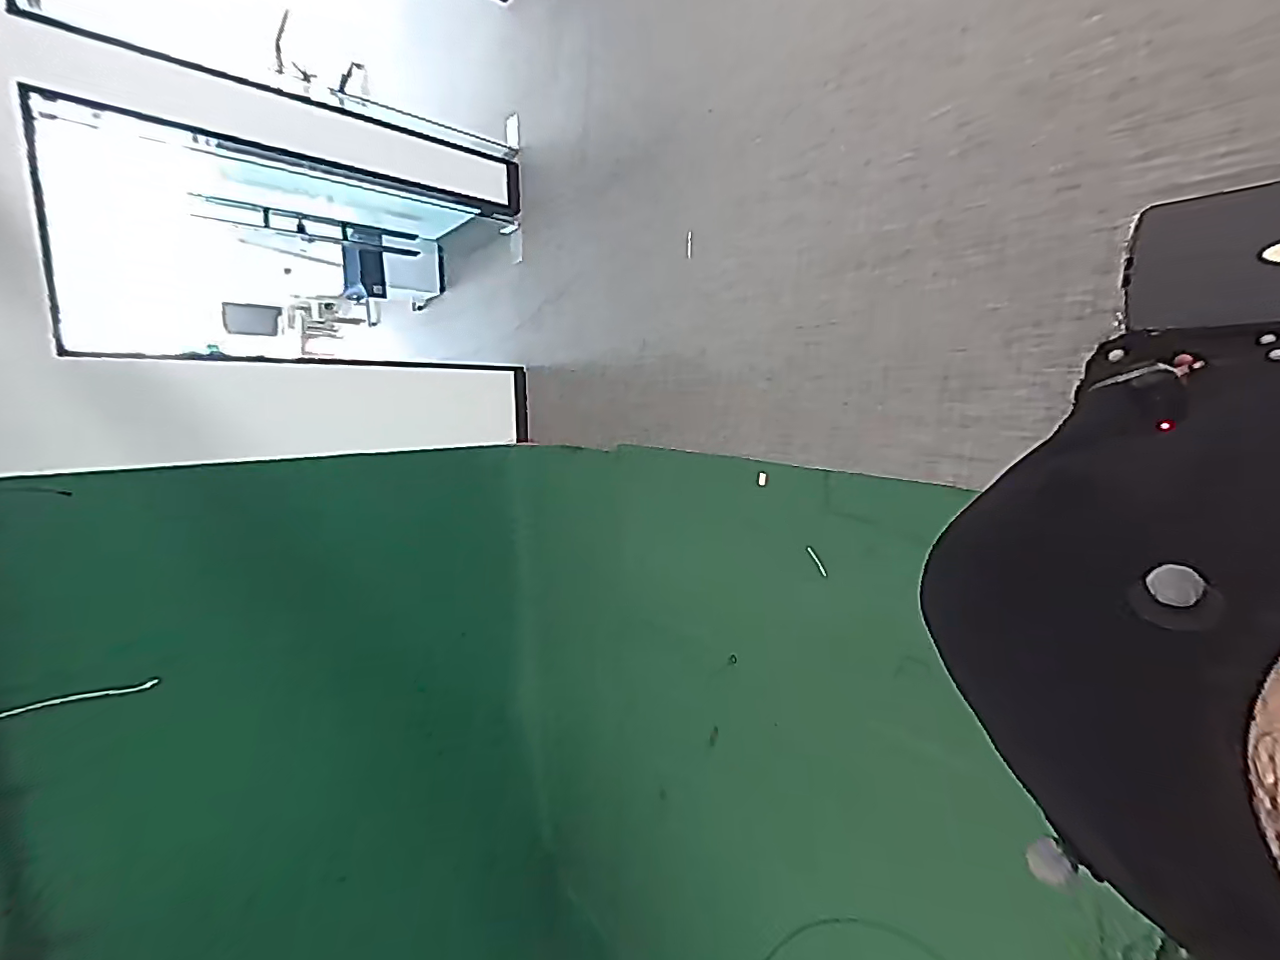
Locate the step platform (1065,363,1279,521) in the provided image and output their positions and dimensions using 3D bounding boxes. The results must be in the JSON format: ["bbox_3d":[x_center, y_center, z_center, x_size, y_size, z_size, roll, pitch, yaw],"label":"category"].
[{"bbox_3d":[1.137,-0.053,0.872,0.684,0.204,0.286,10,102,47],"label":"step platform"}]
